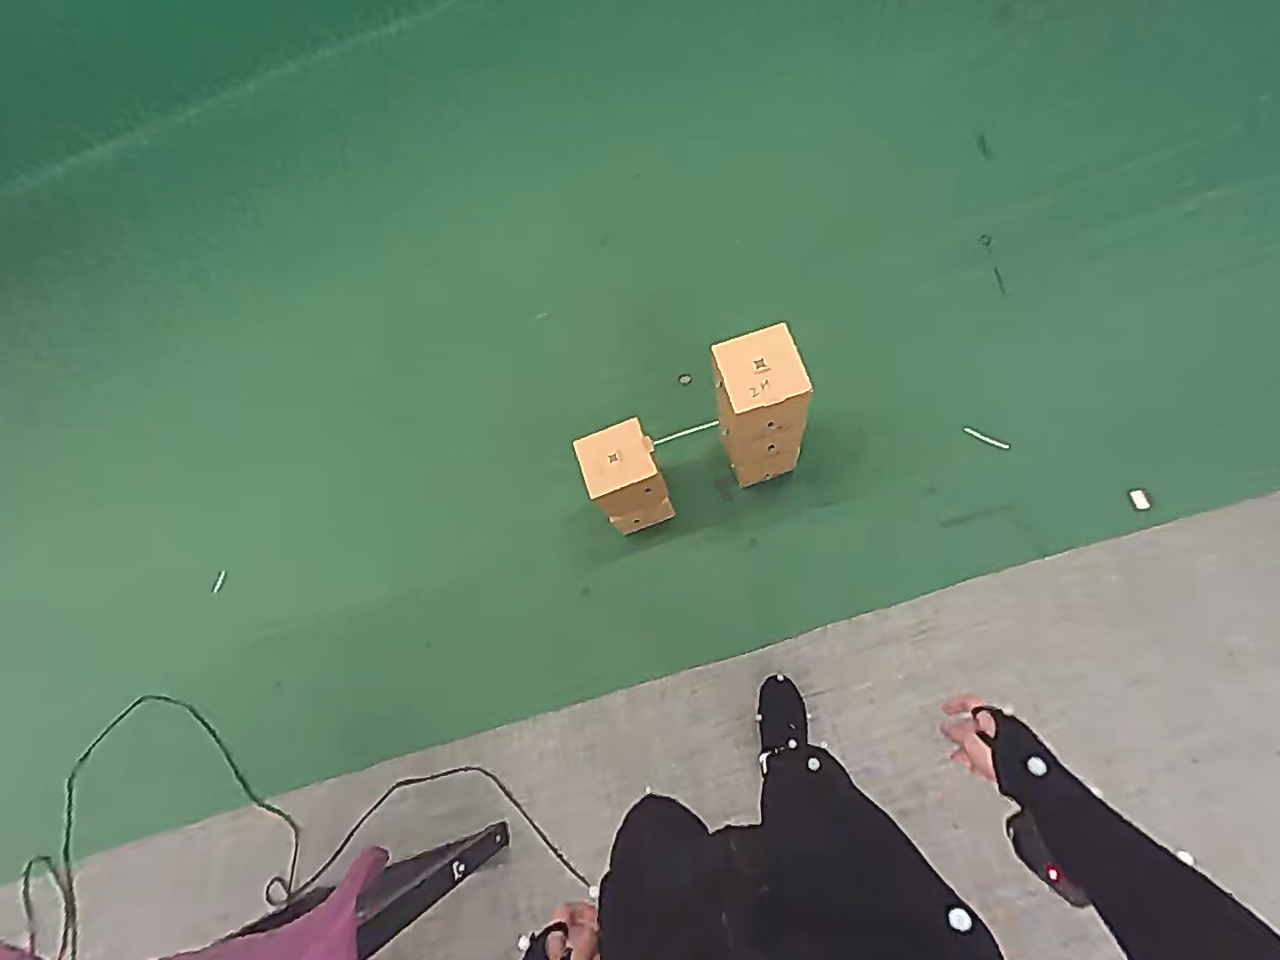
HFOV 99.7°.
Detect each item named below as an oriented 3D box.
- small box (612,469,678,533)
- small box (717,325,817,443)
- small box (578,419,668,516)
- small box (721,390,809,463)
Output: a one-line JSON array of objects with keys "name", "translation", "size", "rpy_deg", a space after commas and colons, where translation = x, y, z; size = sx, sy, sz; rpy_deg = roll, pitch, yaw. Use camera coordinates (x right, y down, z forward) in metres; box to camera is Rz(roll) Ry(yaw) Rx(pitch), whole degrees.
[{"name": "small box", "translation": [-0.001, 0.039, 1.530], "size": [0.168, 0.176, 0.179], "rpy_deg": [-21, 68, 4]}, {"name": "small box", "translation": [0.275, -0.207, 1.203], "size": [0.168, 0.176, 0.179], "rpy_deg": [-17, 71, 5]}, {"name": "small box", "translation": [-0.036, -0.026, 1.385], "size": [0.179, 0.176, 0.168], "rpy_deg": [-21, 68, 4]}, {"name": "small box", "translation": [0.308, -0.156, 1.356], "size": [0.168, 0.176, 0.179], "rpy_deg": [-18, 71, 4]}]
